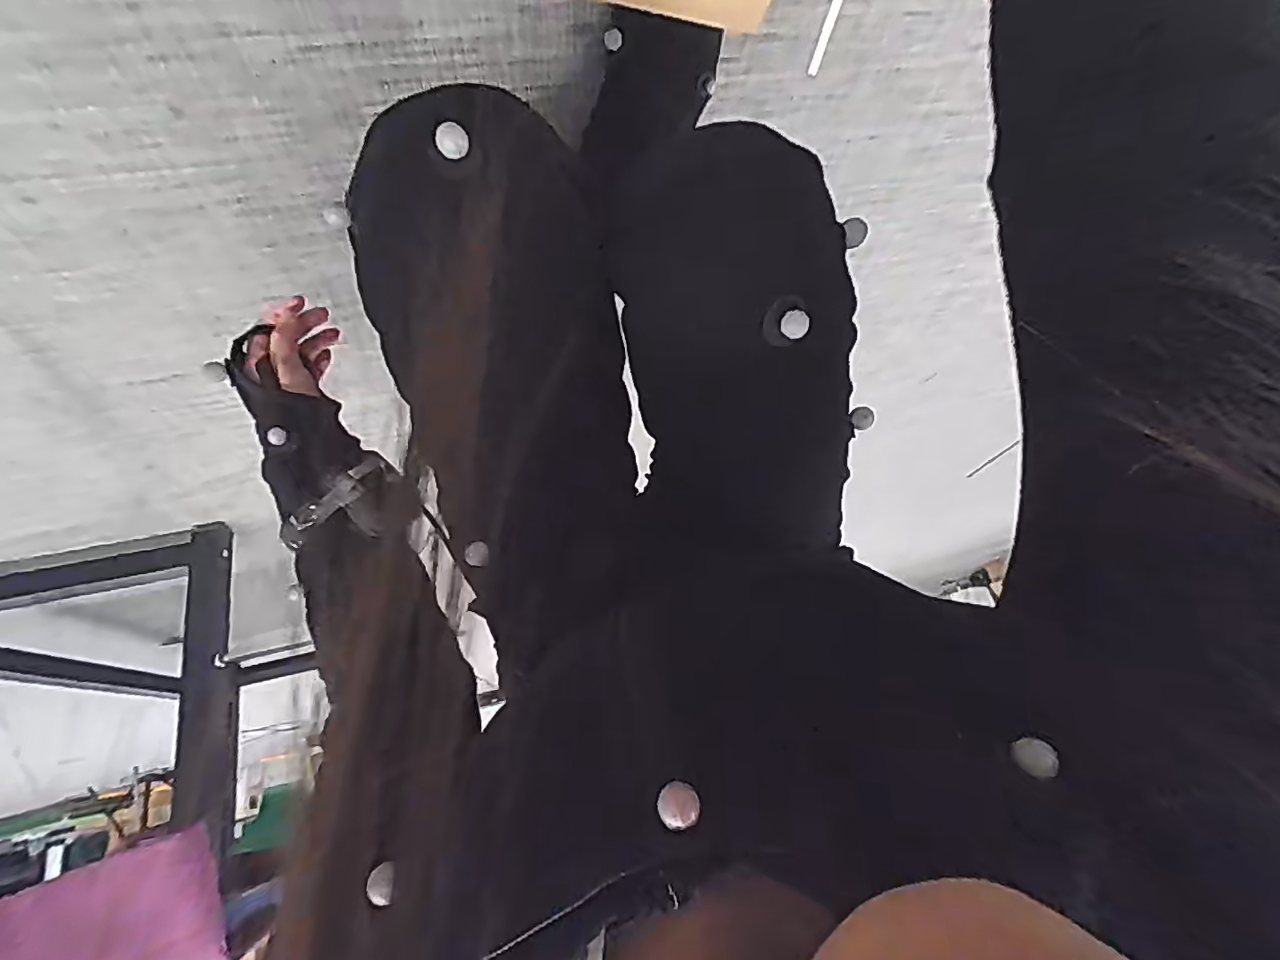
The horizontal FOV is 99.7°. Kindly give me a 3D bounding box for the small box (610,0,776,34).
[{"bbox_3d":[0.015,-0.413,0.306,0.168,0.176,0.179,-8,156,-22],"label":"small box"}]

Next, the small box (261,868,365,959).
[{"bbox_3d":[-0.803,1.086,1.330,0.179,0.176,0.168,-12,157,-9],"label":"small box"}]
